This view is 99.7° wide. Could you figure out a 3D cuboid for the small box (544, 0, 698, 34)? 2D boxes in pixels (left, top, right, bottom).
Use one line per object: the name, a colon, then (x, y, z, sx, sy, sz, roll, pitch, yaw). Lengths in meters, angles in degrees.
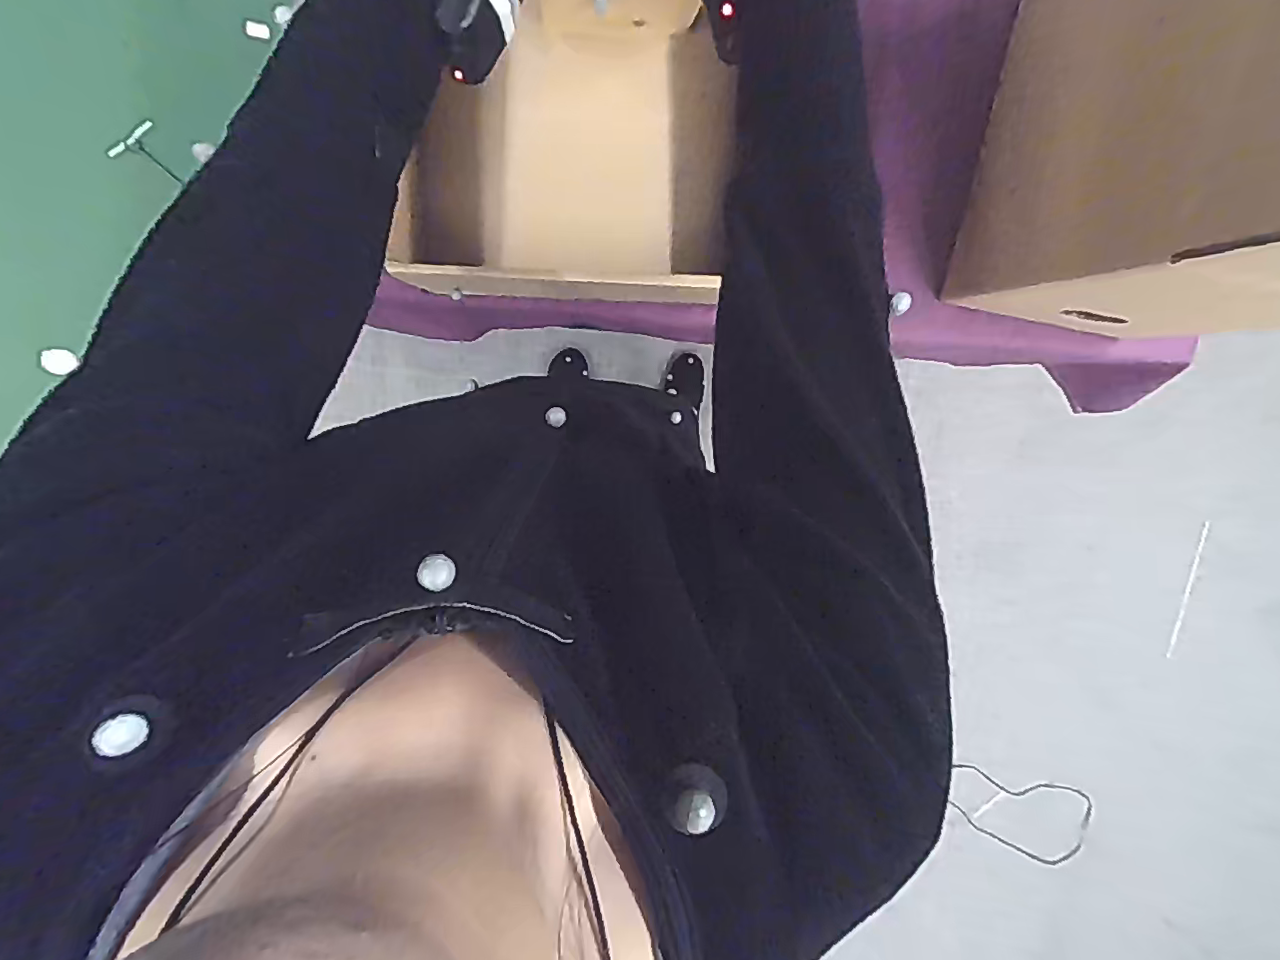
small box: (-0.017, -0.561, 0.513, 0.168, 0.176, 0.179, -2, 110, -4)
